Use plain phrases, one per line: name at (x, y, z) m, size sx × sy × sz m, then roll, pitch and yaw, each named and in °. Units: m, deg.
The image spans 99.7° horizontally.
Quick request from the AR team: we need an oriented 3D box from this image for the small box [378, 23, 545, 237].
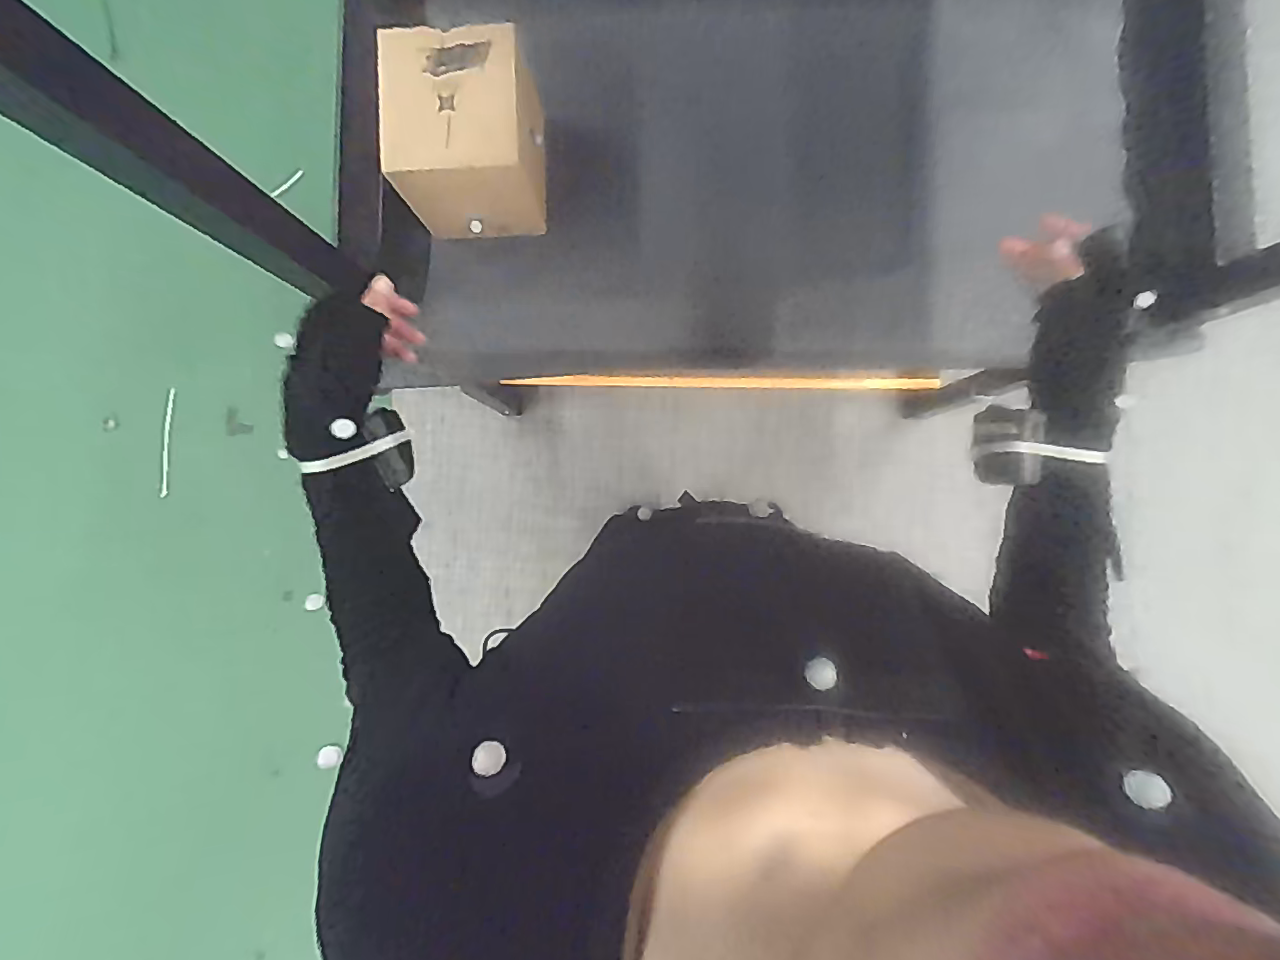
small box at (-0.224, -0.447, 0.714) m, size 0.168 × 0.176 × 0.179 m, roll -2°, pitch 88°, yaw 2°
